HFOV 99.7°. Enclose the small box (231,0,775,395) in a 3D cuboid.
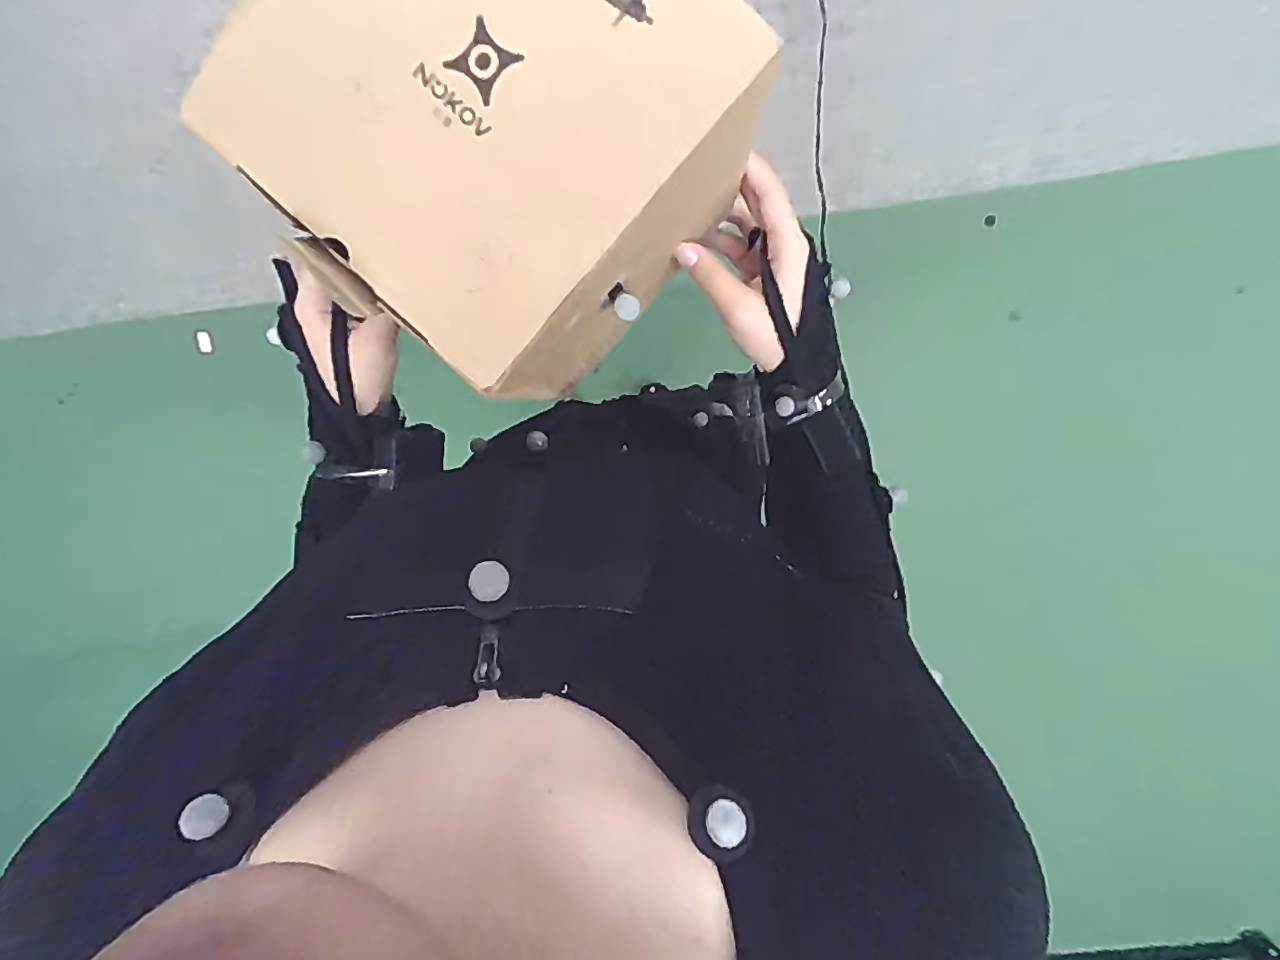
[{"bbox_3d":[-0.054,-0.162,0.300,0.168,0.176,0.179,42,98,-3],"label":"small box"}]
